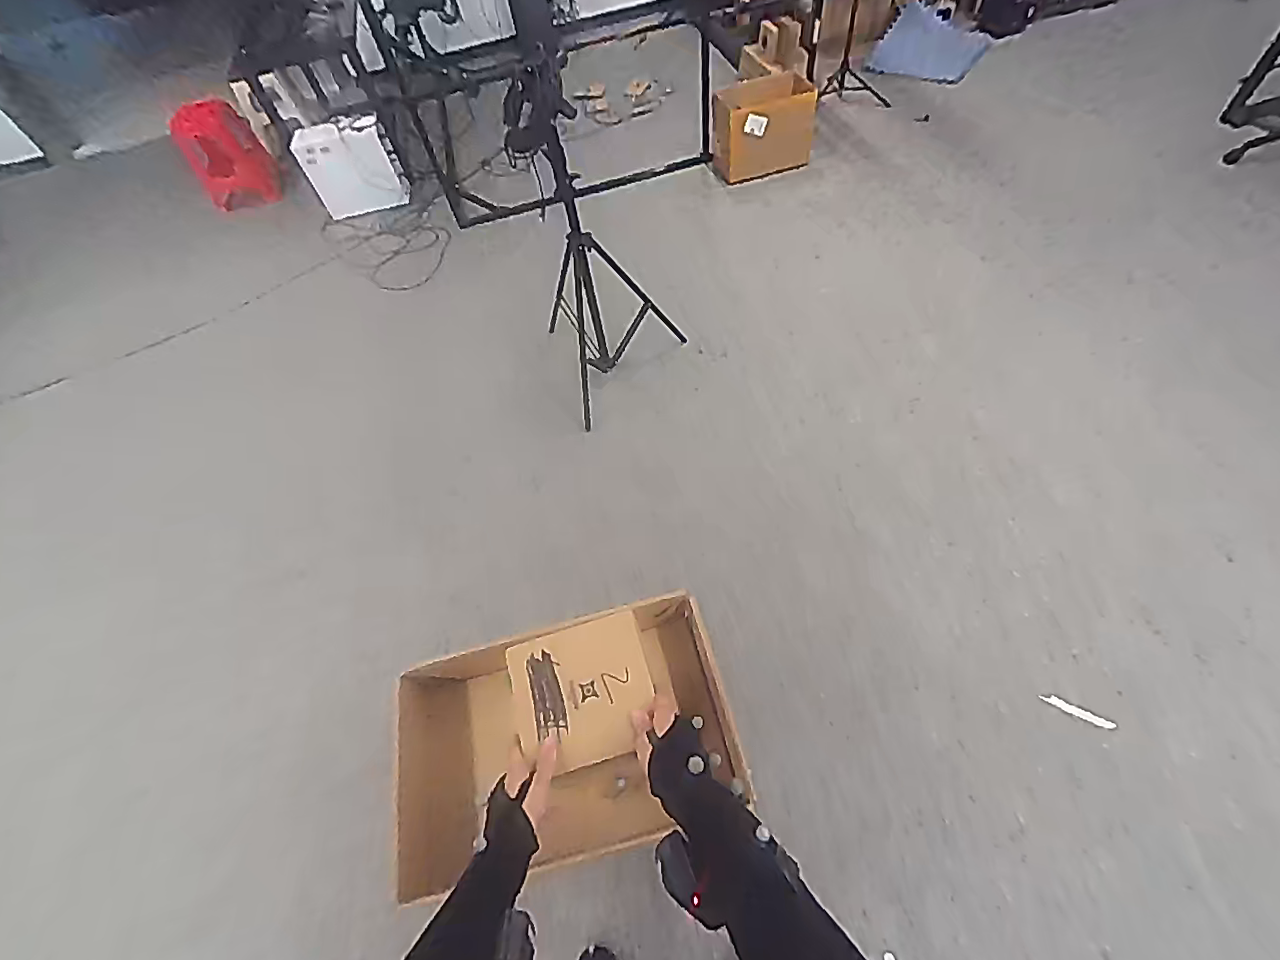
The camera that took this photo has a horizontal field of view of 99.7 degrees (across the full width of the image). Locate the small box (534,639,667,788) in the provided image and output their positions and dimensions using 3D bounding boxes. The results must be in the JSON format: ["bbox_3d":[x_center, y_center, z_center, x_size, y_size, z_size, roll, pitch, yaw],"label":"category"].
[{"bbox_3d":[-0.060,0.384,0.881,0.168,0.176,0.179,-17,59,-2],"label":"small box"}]
